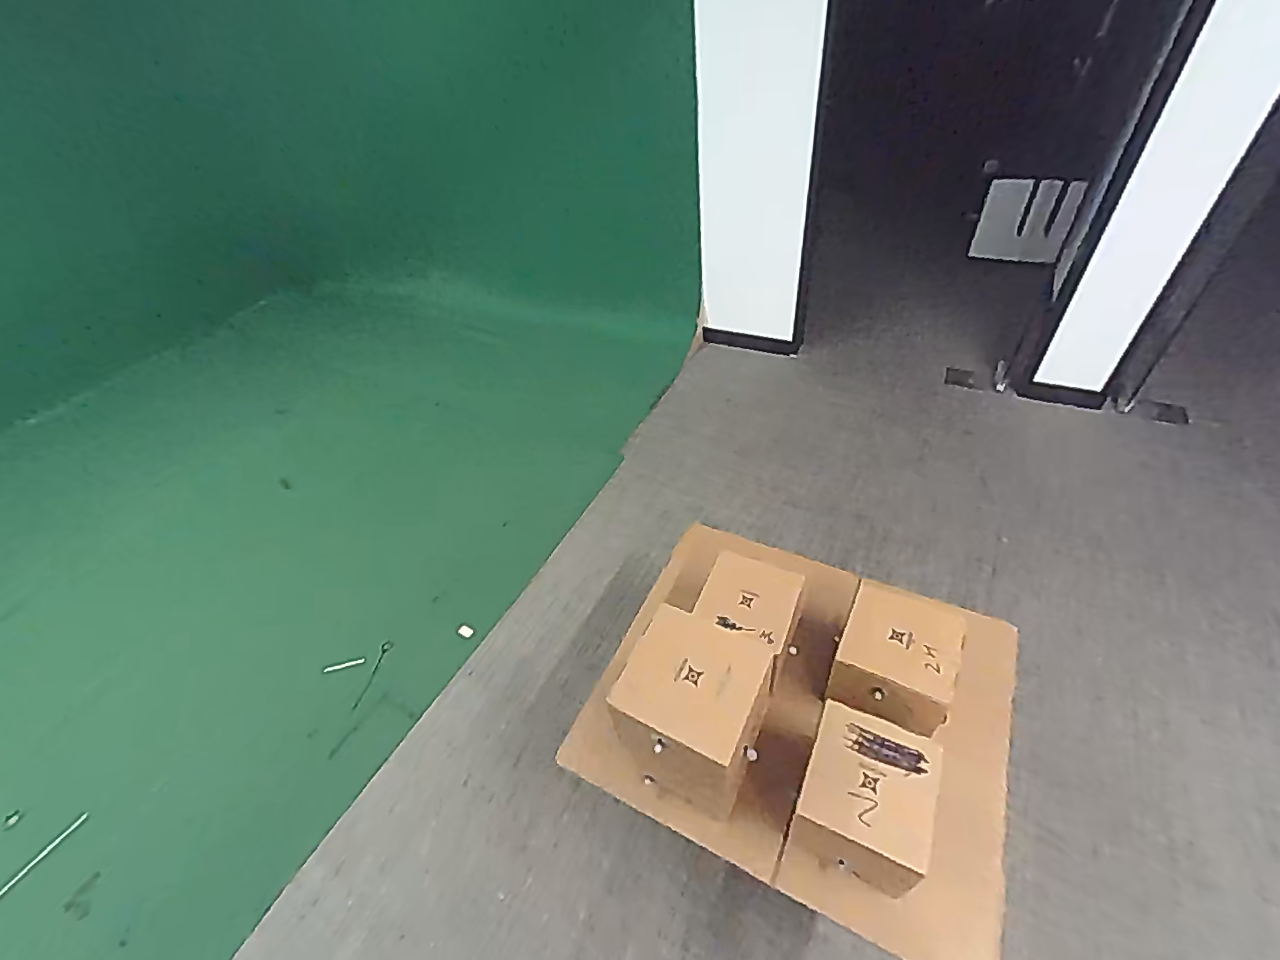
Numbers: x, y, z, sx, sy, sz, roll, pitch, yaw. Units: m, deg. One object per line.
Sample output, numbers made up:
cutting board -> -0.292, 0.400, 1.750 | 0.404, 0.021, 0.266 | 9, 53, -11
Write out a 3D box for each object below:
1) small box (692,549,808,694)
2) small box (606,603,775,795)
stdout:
small box -> 0.208, 0.267, 1.023 | 0.168, 0.176, 0.179 | 14, 48, 24
small box -> 0.078, 0.312, 0.769 | 0.179, 0.176, 0.168 | 18, 52, 25
